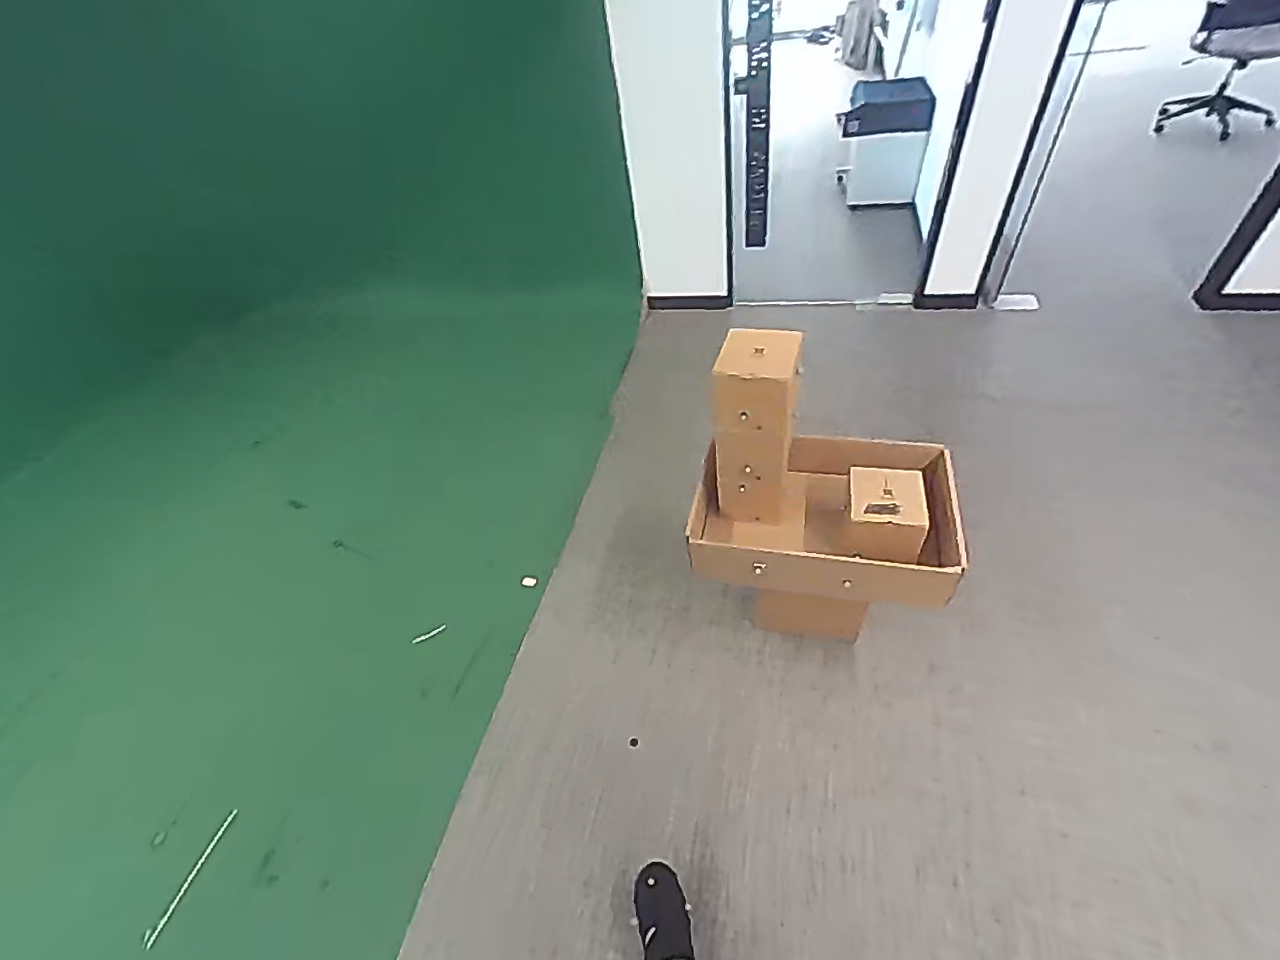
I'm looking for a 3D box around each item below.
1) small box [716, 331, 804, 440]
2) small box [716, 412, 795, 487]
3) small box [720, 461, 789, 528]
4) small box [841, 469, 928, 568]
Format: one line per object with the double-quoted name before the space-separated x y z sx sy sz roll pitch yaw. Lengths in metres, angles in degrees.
"small box" 0.273 -0.218 1.239 0.168 0.176 0.179 9 50 18
"small box" 0.292 -0.108 1.357 0.168 0.176 0.179 8 49 18
"small box" 0.313 0.003 1.475 0.168 0.176 0.179 7 49 16
"small box" 0.595 0.097 1.331 0.168 0.176 0.179 5 47 15
